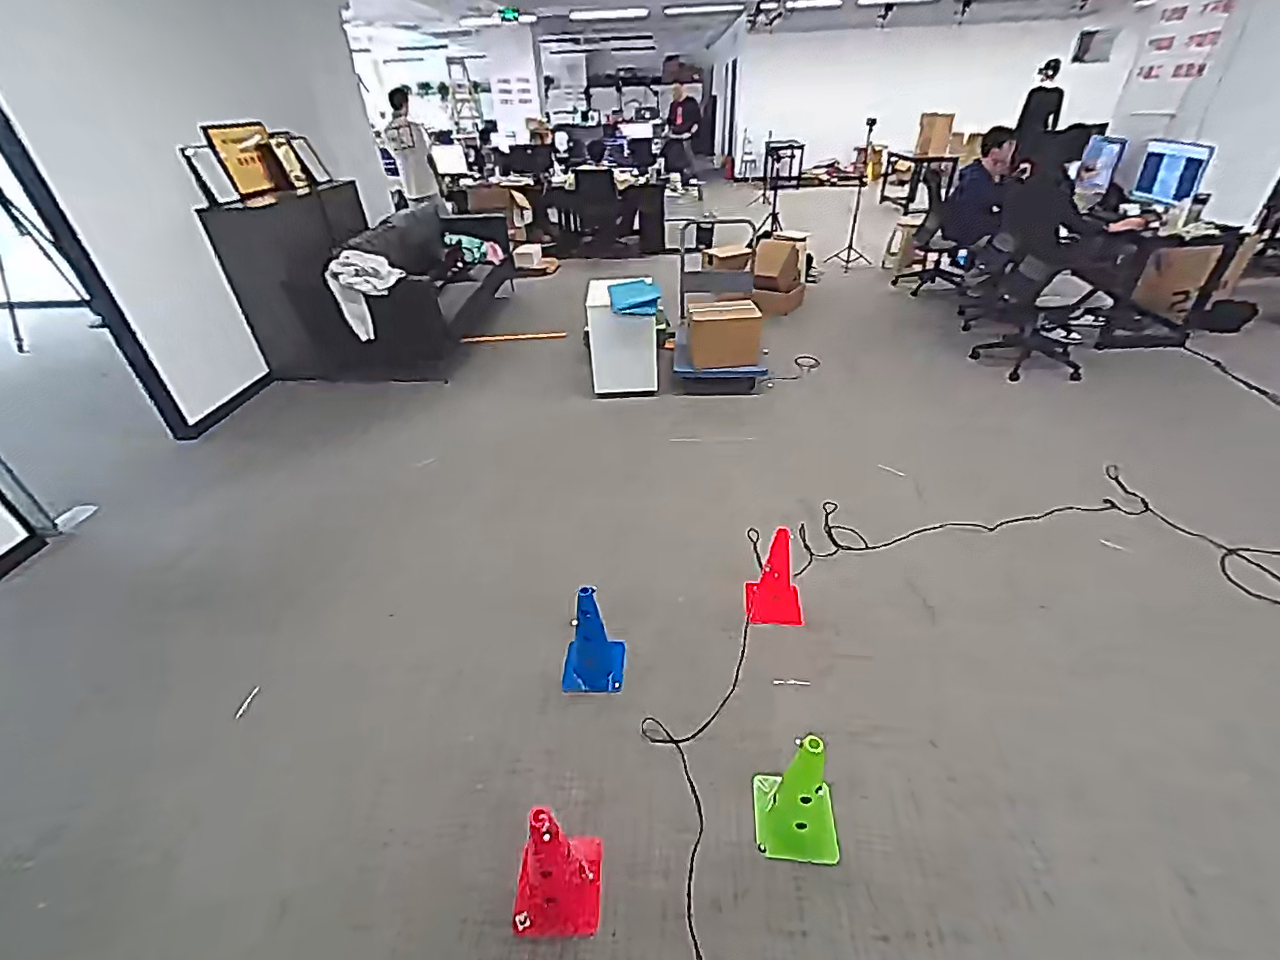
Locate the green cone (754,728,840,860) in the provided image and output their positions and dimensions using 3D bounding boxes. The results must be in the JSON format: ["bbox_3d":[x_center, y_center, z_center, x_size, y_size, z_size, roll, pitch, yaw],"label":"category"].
[{"bbox_3d":[0.397,0.724,1.305,0.200,0.368,0.202,1,34,5],"label":"green cone"}]

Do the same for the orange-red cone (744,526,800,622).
[{"bbox_3d":[0.477,0.308,1.901,0.198,0.360,0.199,2,37,8],"label":"orange-red cone"}]
